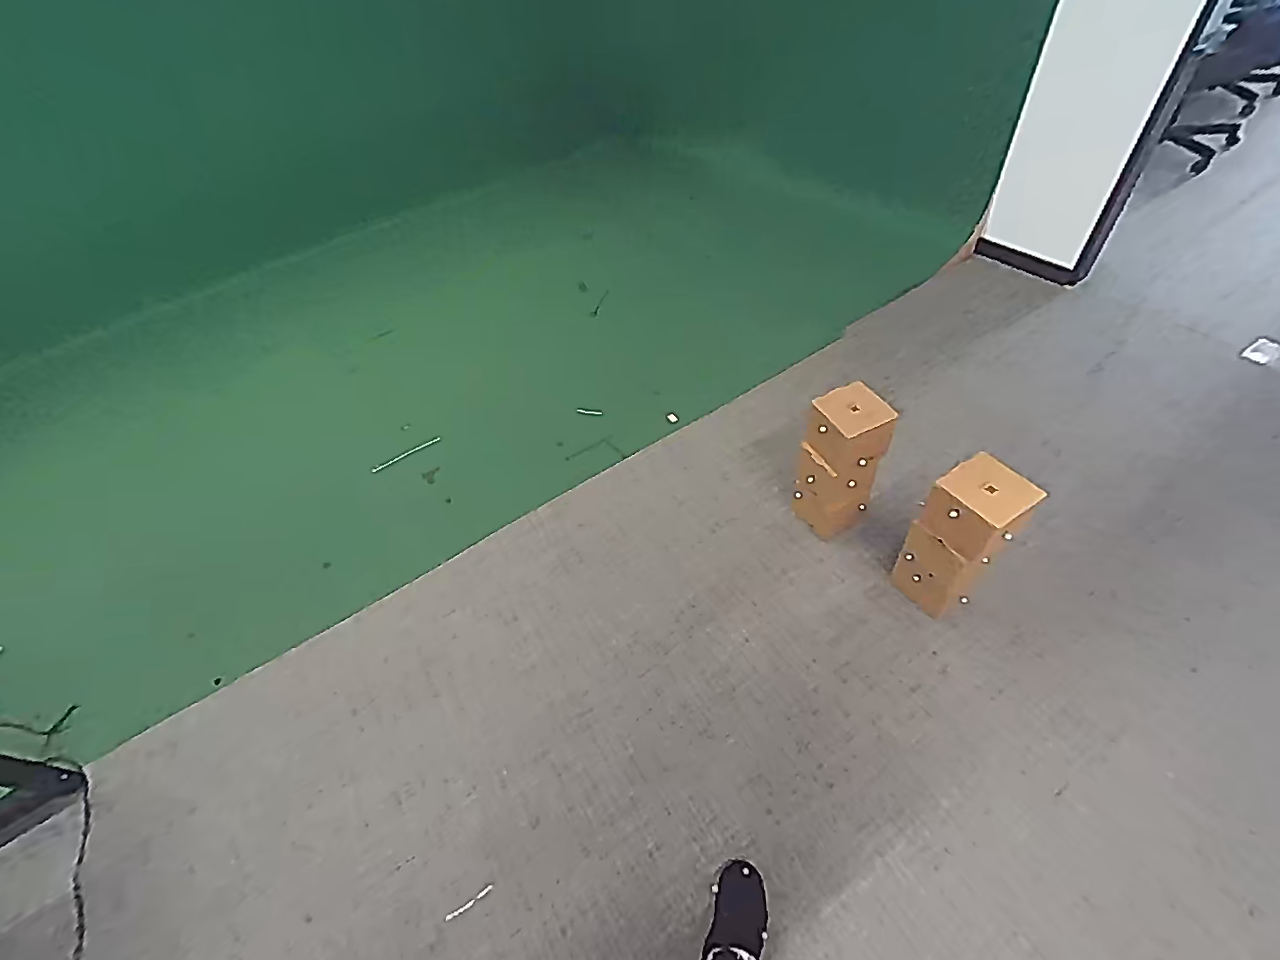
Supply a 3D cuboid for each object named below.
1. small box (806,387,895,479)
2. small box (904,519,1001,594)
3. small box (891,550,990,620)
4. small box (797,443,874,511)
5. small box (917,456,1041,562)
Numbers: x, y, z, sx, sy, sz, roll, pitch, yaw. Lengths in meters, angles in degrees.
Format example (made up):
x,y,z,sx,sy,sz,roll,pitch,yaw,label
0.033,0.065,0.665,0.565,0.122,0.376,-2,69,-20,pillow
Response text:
x,y,z,sx,sy,sz,roll,pitch,yaw,label
0.600,-0.135,1.569,0.168,0.176,0.179,-22,50,-8,small box
0.848,0.179,1.470,0.179,0.176,0.168,-28,51,-13,small box
0.874,0.280,1.596,0.168,0.176,0.179,-30,51,-13,small box
0.611,-0.031,1.695,0.179,0.176,0.168,-24,50,-9,small box
0.830,0.079,1.342,0.168,0.176,0.179,-29,51,-14,small box
